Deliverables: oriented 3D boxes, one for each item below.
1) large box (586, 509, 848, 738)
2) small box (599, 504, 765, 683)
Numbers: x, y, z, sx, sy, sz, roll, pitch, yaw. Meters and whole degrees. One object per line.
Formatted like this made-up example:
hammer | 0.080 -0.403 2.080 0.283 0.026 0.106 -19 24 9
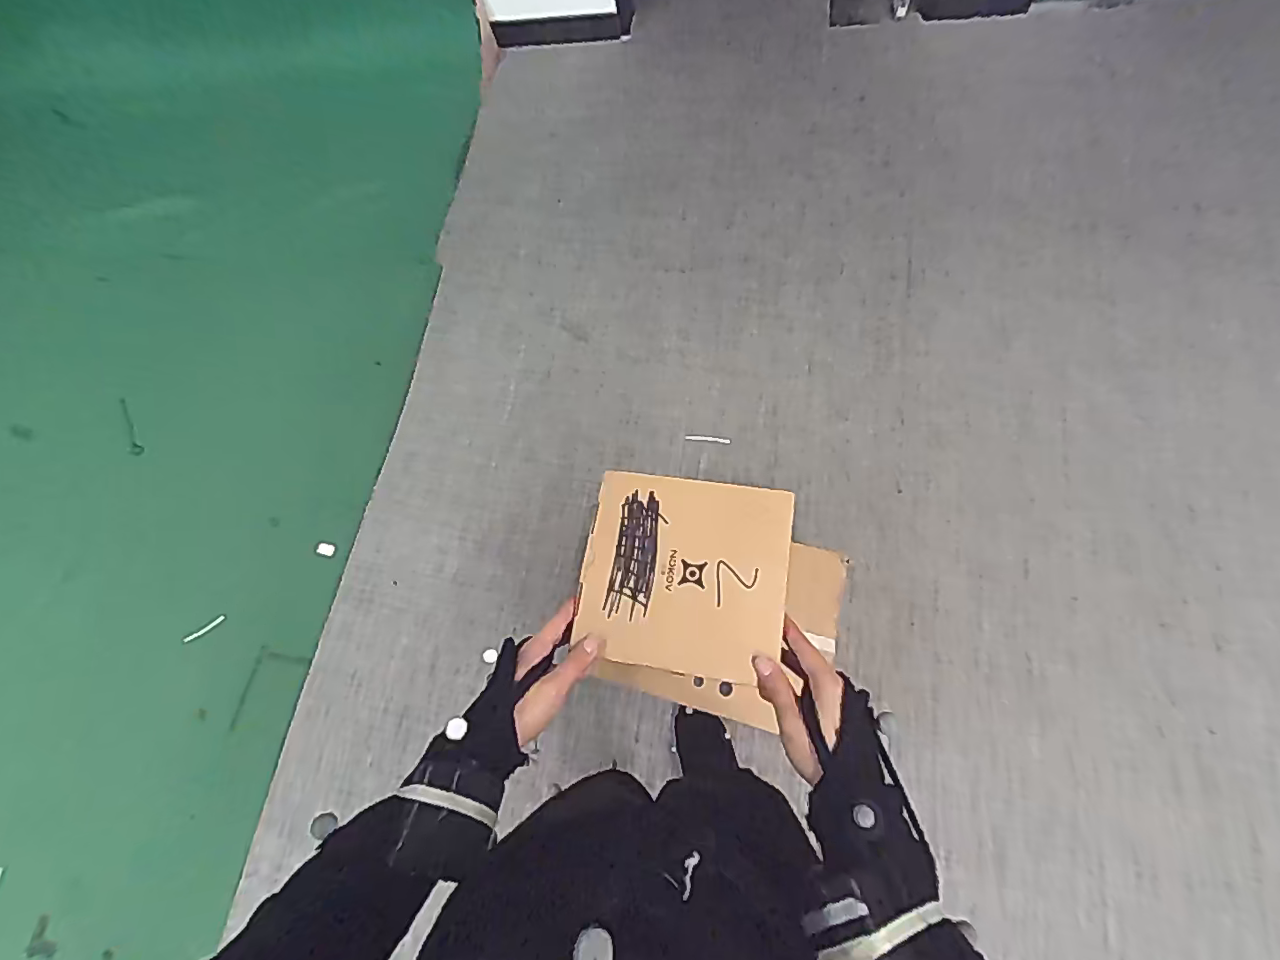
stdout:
large box | 0.150 0.274 1.069 0.408 0.320 0.320 12 75 12
small box | 0.060 0.149 0.694 0.168 0.176 0.179 10 72 11
